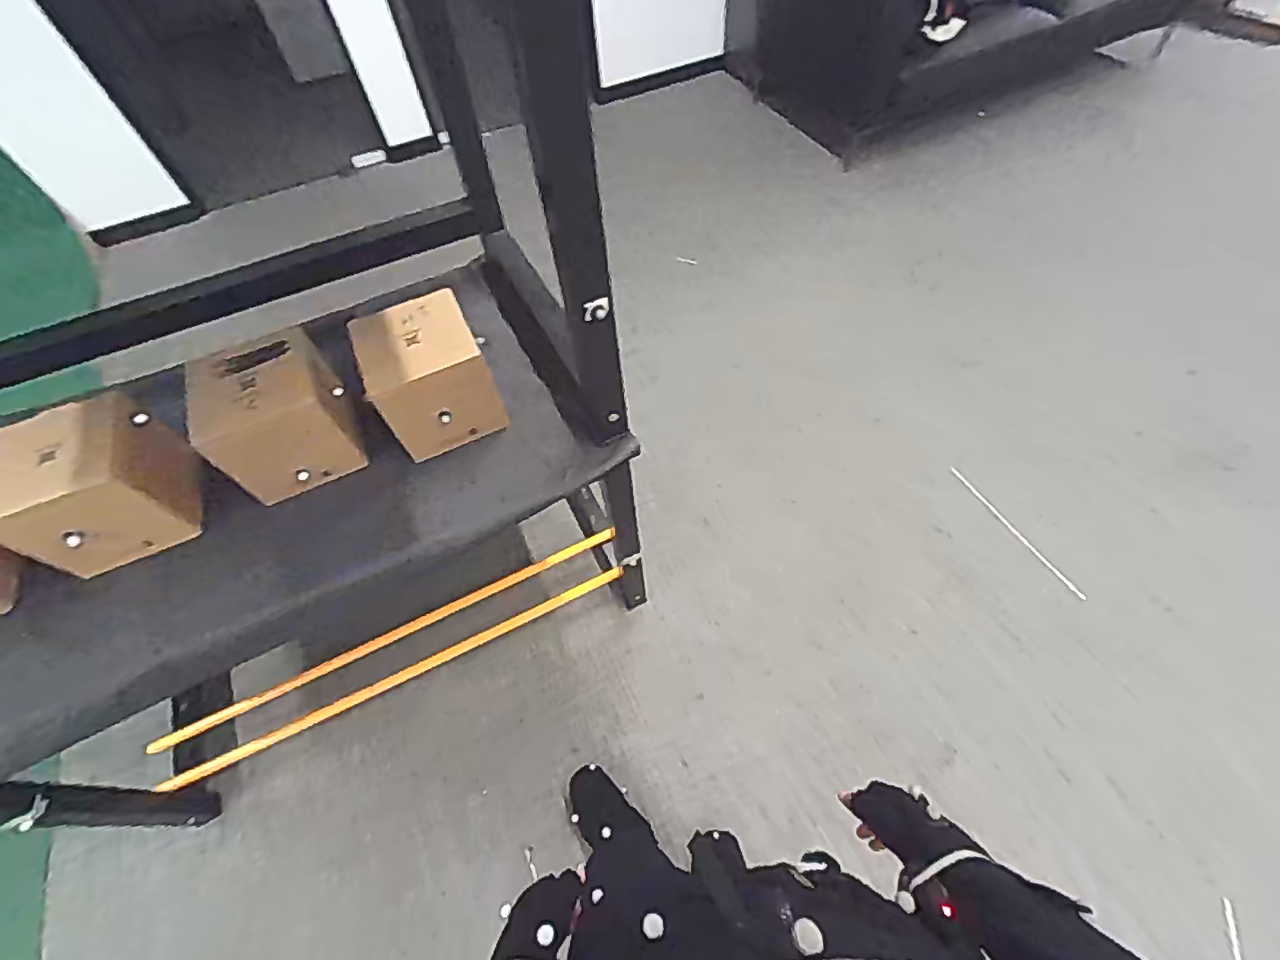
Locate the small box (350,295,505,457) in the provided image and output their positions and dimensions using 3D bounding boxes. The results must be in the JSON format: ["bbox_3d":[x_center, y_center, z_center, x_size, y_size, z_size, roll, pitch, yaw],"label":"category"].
[{"bbox_3d":[-0.335,-0.159,0.875,0.168,0.176,0.179,-24,58,-12],"label":"small box"}]

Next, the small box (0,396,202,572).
[{"bbox_3d":[-0.786,0.015,0.793,0.168,0.176,0.179,-23,58,-12],"label":"small box"}]

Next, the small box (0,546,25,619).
[{"bbox_3d":[-1.013,0.113,0.739,0.168,0.176,0.179,-23,59,-11],"label":"small box"}]
